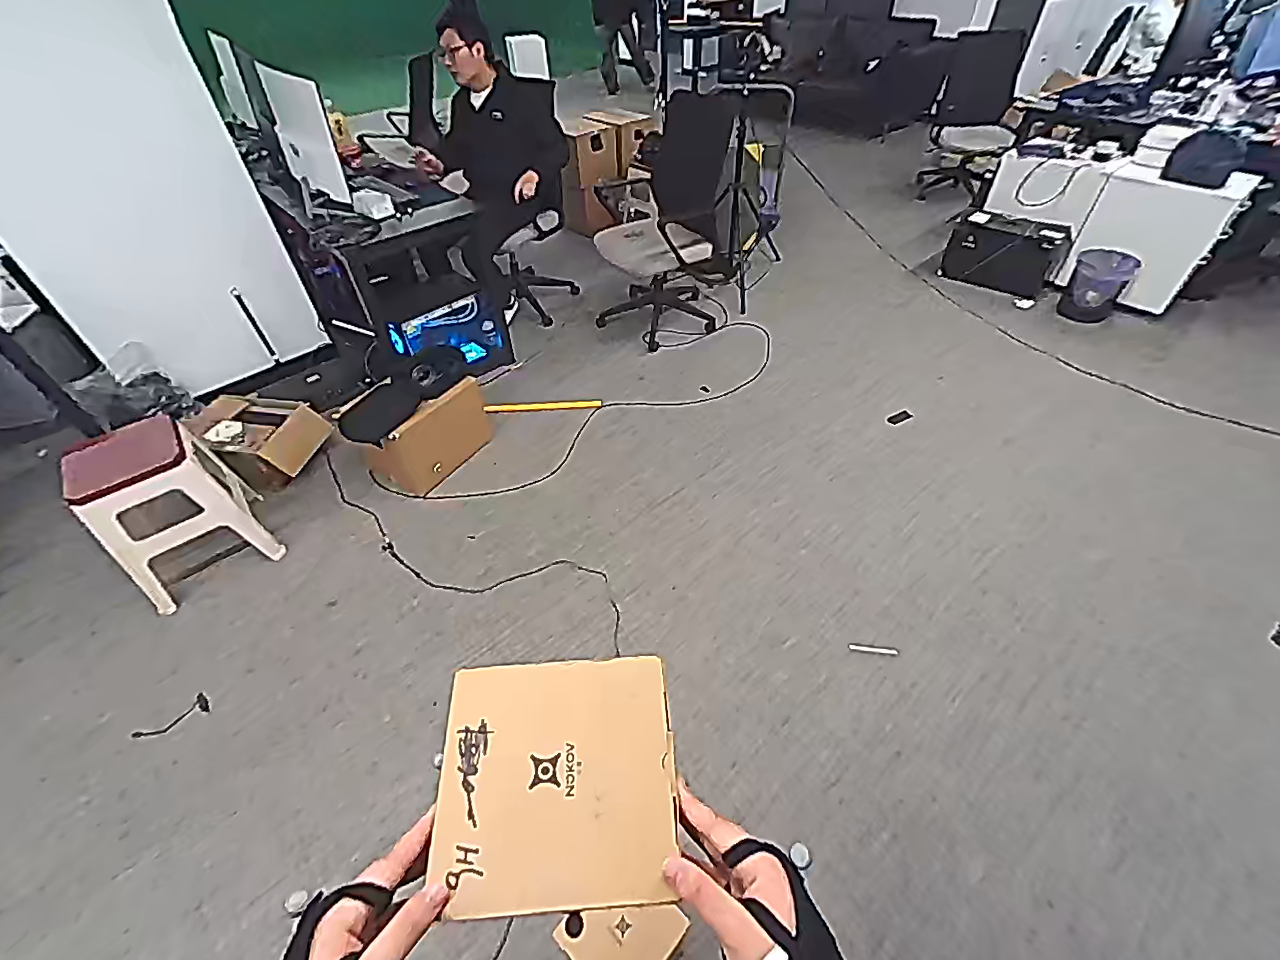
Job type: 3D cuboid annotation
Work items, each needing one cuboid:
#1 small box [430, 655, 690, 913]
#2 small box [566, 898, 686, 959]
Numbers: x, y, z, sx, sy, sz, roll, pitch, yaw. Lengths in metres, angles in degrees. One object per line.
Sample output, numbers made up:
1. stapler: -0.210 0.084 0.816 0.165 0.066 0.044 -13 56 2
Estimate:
1. small box: -0.059 0.267 0.472 0.179 0.176 0.168 -3 50 -3
2. small box: -0.026 0.932 1.090 0.179 0.176 0.168 -37 54 -28
